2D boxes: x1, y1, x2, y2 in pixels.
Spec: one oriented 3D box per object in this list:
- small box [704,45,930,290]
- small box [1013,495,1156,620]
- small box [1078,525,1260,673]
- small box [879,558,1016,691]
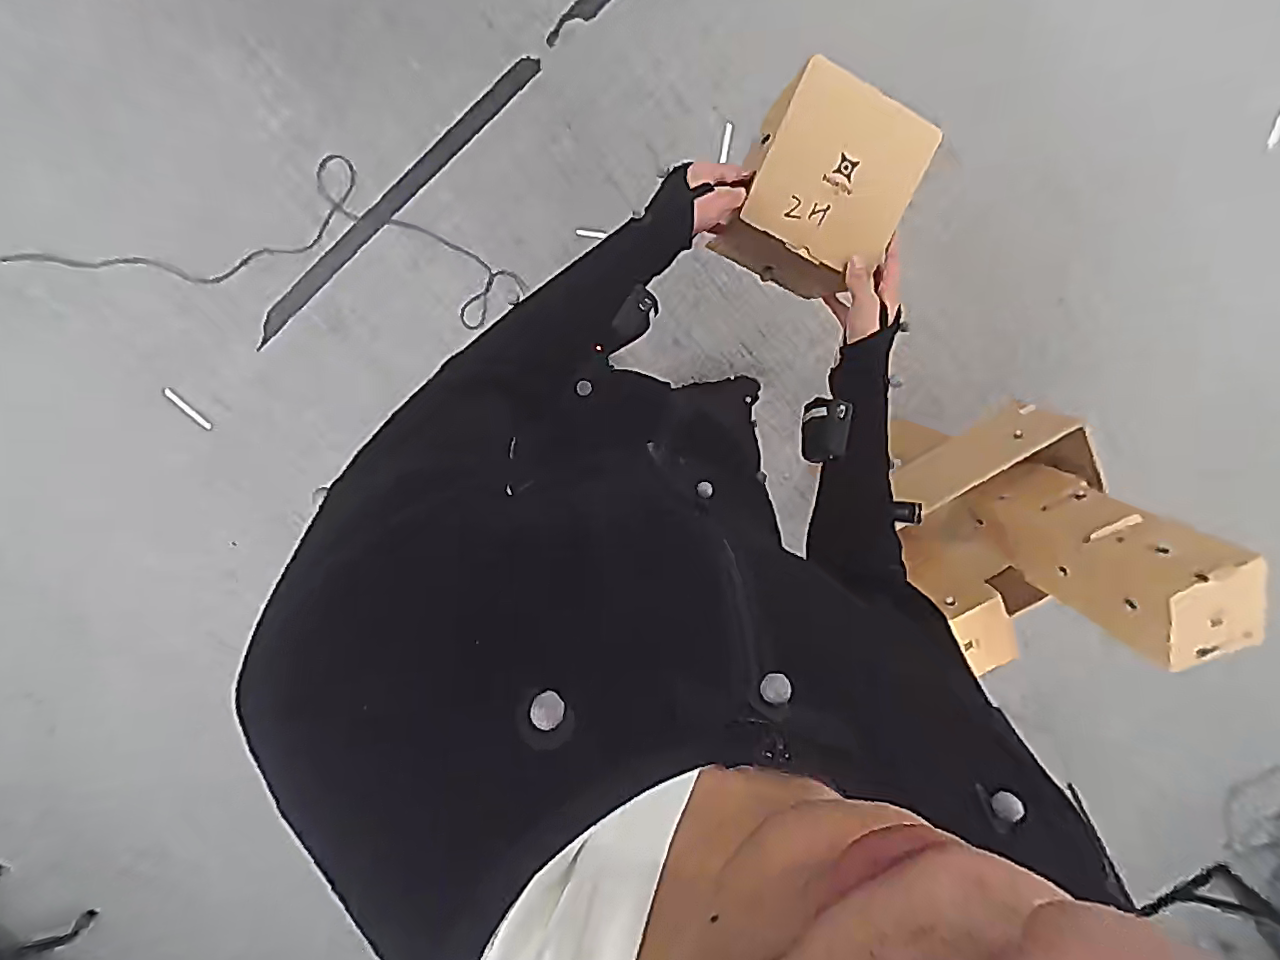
[{"bbox_3d":[0.192,-0.348,0.646,0.168,0.176,0.179,22,101,-9],"label":"small box"},{"bbox_3d":[0.912,0.148,1.116,0.168,0.176,0.179,-25,111,3],"label":"small box"},{"bbox_3d":[0.924,0.198,0.959,0.168,0.176,0.179,-21,110,2],"label":"small box"},{"bbox_3d":[0.634,0.298,1.140,0.179,0.176,0.168,-30,110,4],"label":"small box"}]
